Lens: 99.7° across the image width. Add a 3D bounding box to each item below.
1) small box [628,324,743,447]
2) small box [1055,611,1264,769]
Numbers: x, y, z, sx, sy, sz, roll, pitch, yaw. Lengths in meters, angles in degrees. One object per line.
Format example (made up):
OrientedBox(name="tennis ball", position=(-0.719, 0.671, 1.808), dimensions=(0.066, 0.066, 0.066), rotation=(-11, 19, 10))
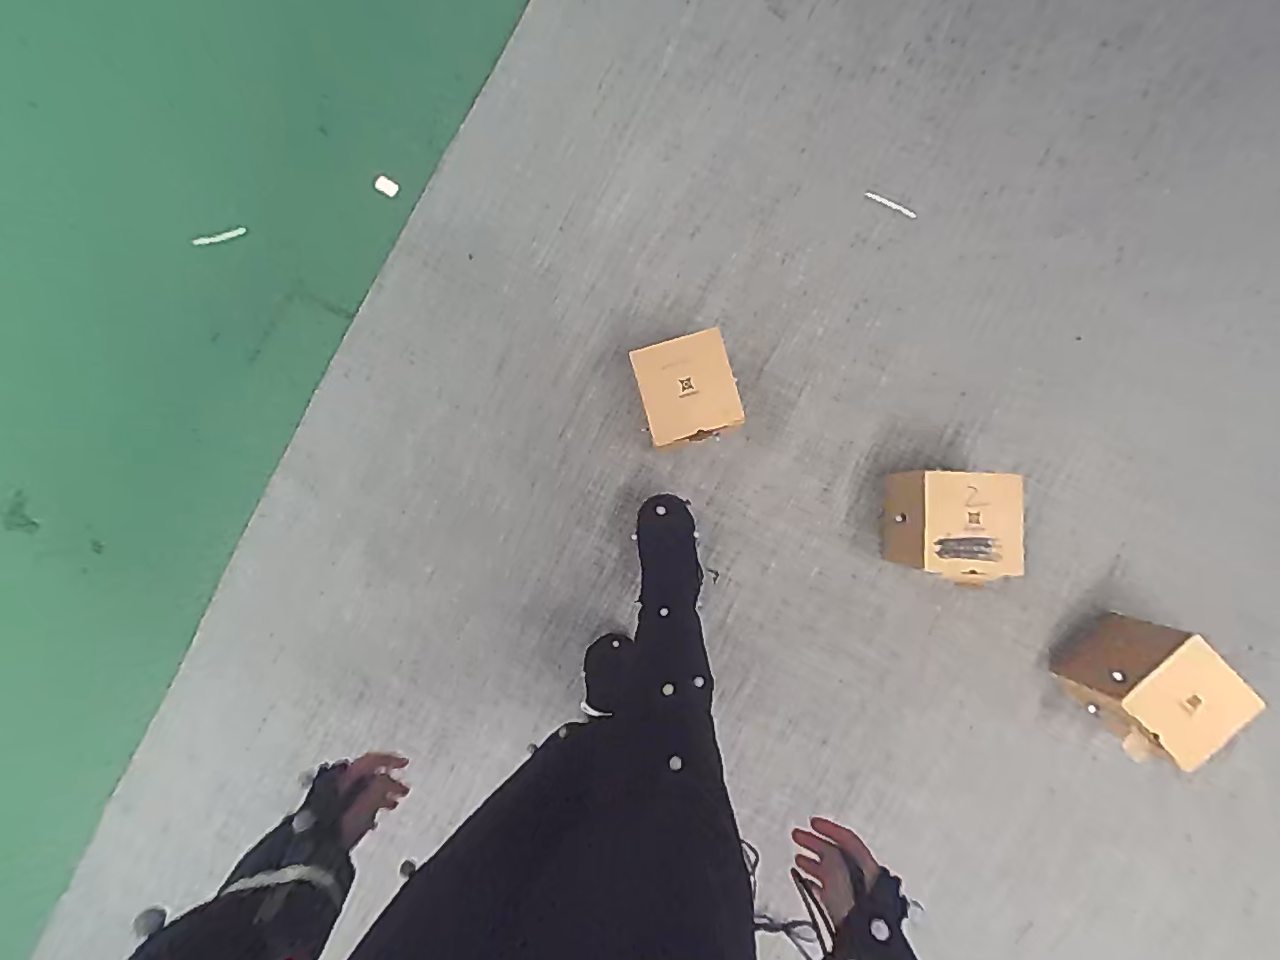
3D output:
OrientedBox(name="small box", position=(0.082, -0.165, 1.014), dimensions=(0.168, 0.176, 0.179), rotation=(-16, 87, 0))
OrientedBox(name="small box", position=(0.917, 0.364, 0.975), dimensions=(0.179, 0.176, 0.168), rotation=(-43, 88, 1))
